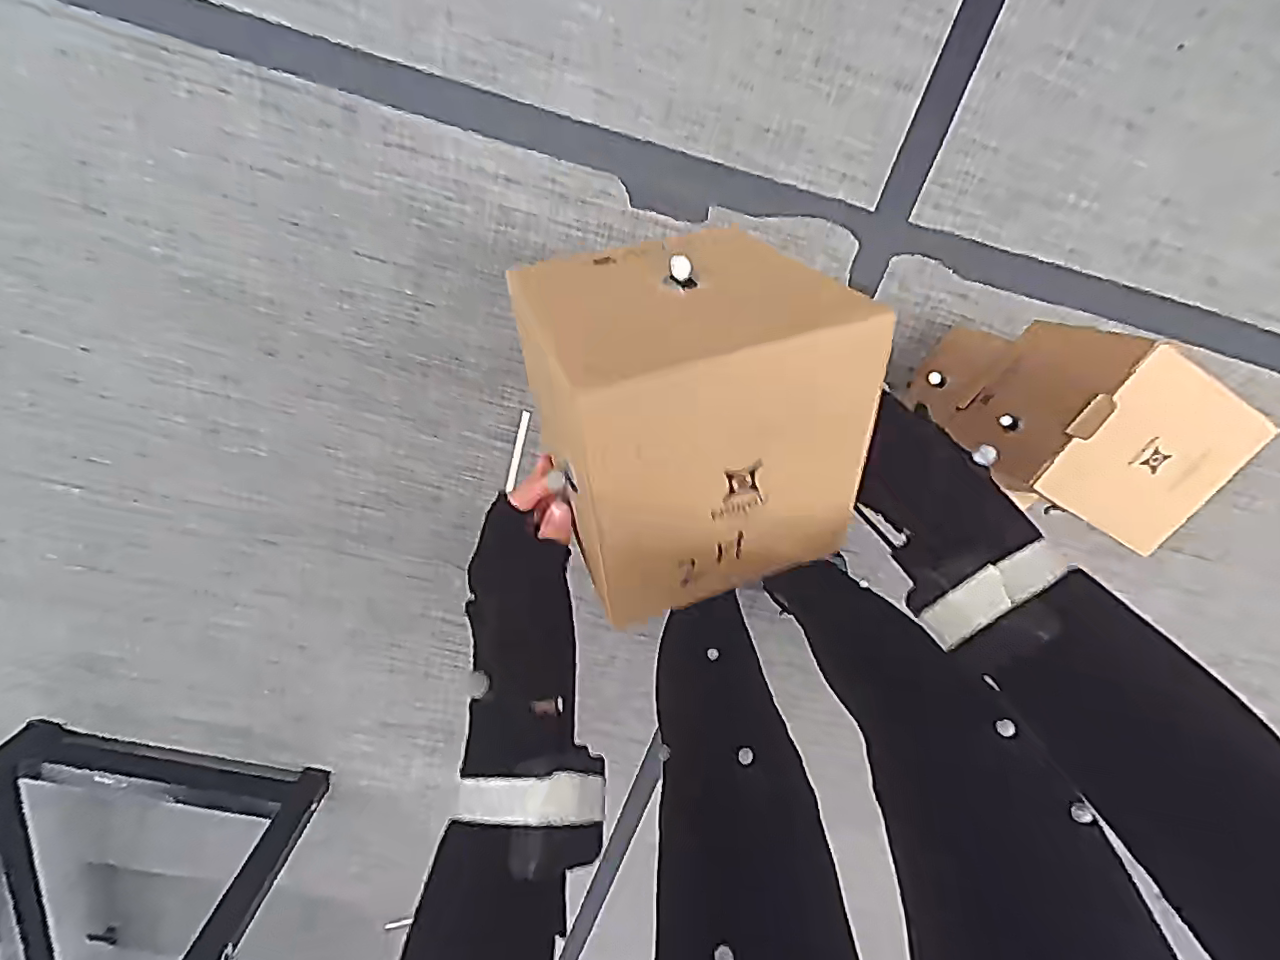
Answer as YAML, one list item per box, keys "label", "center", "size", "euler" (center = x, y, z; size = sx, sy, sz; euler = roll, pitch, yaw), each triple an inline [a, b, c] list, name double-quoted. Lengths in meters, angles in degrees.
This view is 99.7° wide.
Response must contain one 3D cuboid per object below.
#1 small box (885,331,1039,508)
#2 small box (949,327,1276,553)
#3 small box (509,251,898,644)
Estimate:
- label: "small box"
  center: [0.489, -0.094, 0.764]
  size: [0.179, 0.176, 0.168]
  euler: [29, 109, -13]
- label: "small box"
  center: [0.496, -0.055, 0.601]
  size: [0.179, 0.176, 0.168]
  euler: [27, 110, -12]
- label: "small box"
  center: [0.021, -0.032, 0.349]
  size: [0.168, 0.176, 0.179]
  euler: [-14, 135, -14]
